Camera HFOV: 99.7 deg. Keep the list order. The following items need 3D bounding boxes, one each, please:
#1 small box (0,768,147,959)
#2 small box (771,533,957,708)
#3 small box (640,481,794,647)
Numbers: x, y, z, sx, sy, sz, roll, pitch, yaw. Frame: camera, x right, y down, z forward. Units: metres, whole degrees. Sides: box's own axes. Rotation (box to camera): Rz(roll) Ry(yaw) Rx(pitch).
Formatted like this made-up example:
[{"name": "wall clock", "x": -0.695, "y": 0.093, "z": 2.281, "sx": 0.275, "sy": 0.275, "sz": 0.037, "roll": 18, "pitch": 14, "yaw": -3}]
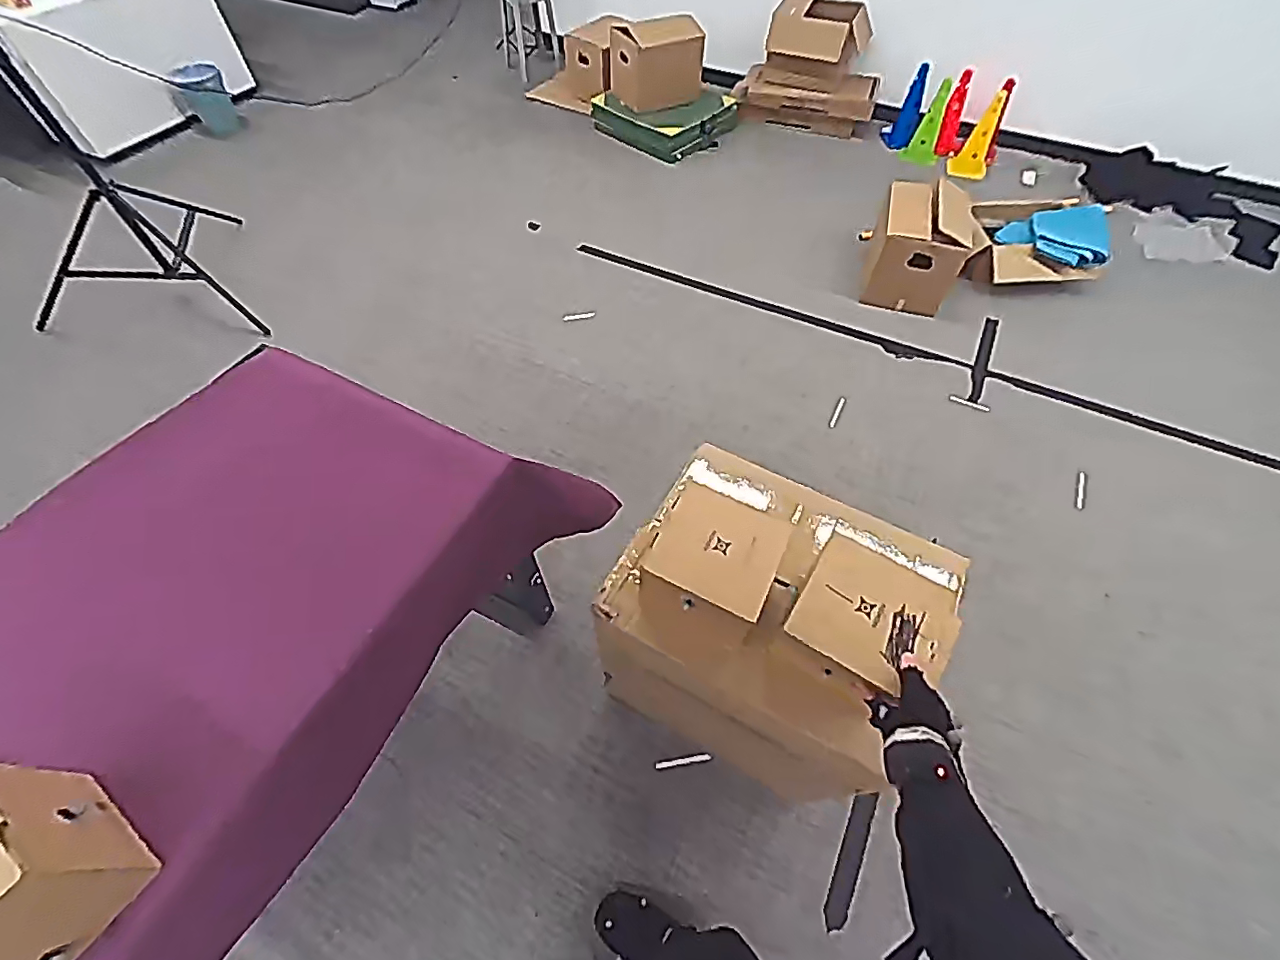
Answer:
[{"name": "small box", "x": -0.643, "y": 0.405, "z": 0.523, "sx": 0.168, "sy": 0.176, "sz": 0.179, "roll": 29, "pitch": 59, "yaw": 19}, {"name": "small box", "x": 0.308, "y": 0.207, "z": 0.779, "sx": 0.179, "sy": 0.176, "sz": 0.168, "roll": 28, "pitch": 70, "yaw": 18}, {"name": "small box", "x": 0.112, "y": 0.137, "z": 0.840, "sx": 0.179, "sy": 0.176, "sz": 0.168, "roll": 25, "pitch": 61, "yaw": 14}]
